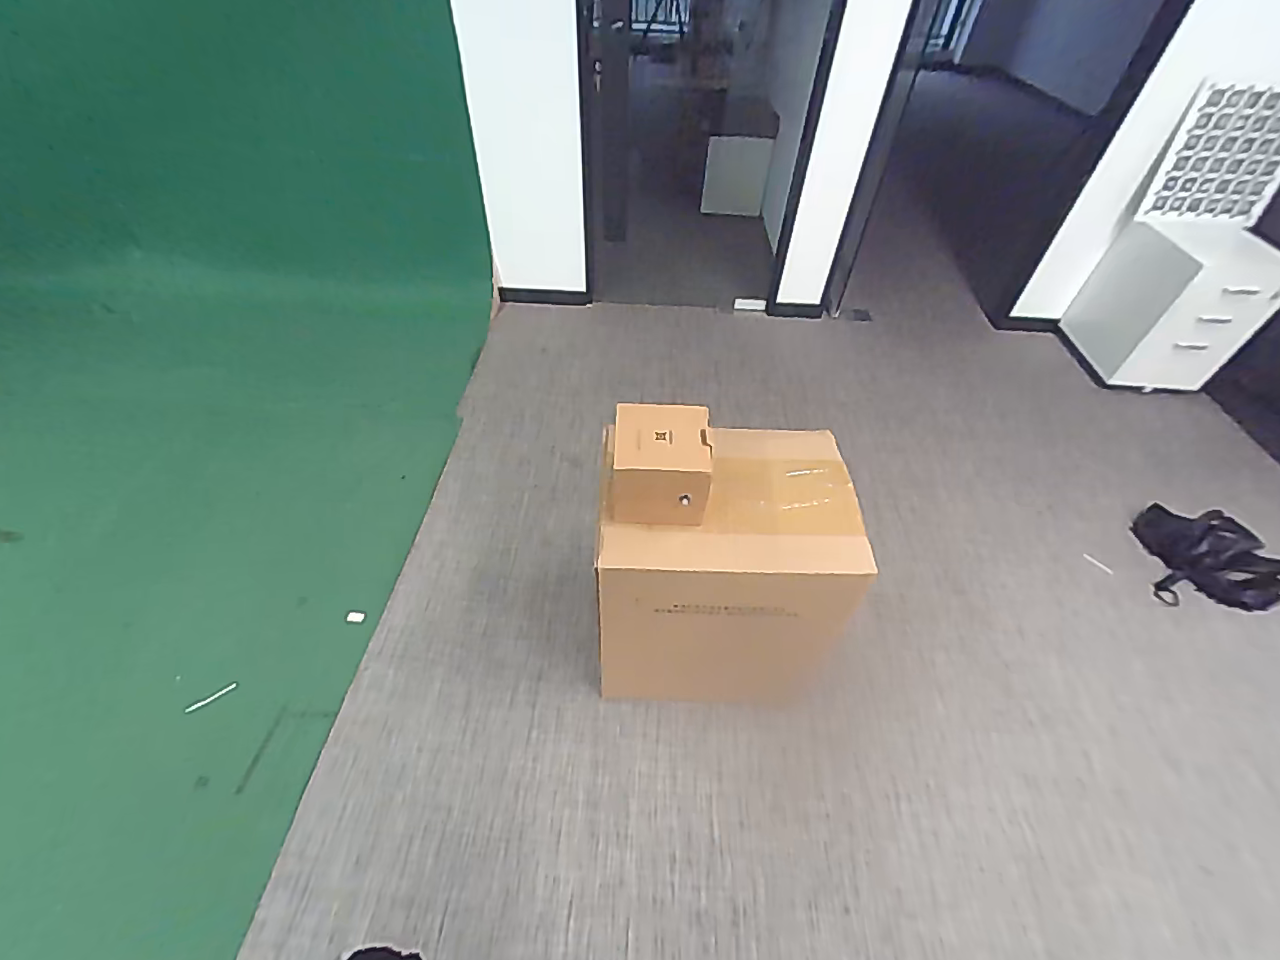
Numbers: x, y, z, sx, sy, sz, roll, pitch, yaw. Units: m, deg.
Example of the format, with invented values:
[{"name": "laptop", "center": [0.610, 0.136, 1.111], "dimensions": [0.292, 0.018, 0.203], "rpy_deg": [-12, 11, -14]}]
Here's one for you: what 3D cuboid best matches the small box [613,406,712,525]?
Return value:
[{"name": "small box", "center": [0.039, -0.025, 1.050], "dimensions": [0.179, 0.176, 0.168], "rpy_deg": [0, 51, 0]}]
